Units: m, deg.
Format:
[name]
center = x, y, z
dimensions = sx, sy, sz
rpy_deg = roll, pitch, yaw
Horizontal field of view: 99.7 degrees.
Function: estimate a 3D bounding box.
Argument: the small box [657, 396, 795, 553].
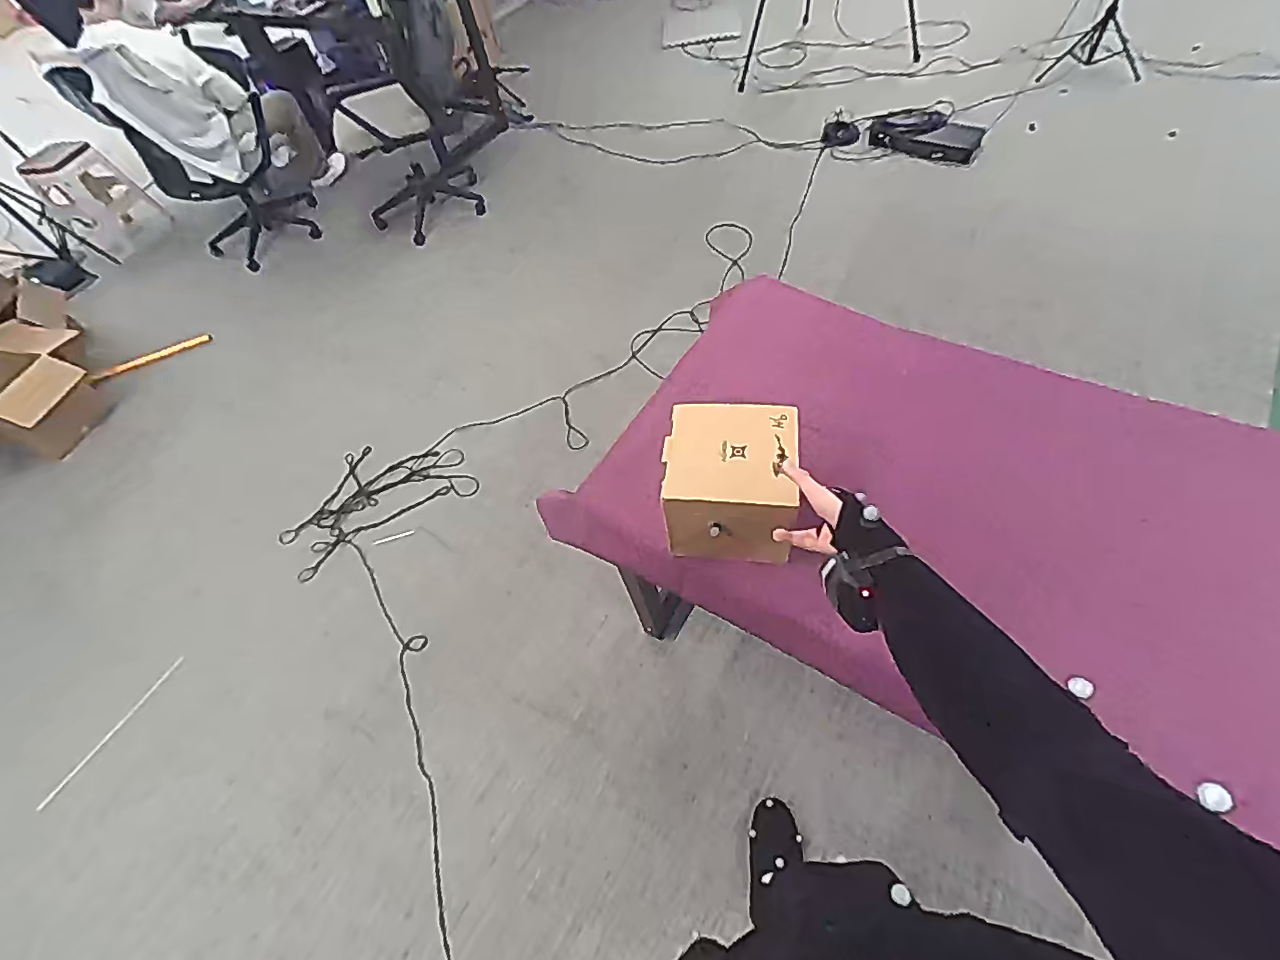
[small box]
center = 0.130, -0.004, 0.788
dimensions = 0.179, 0.176, 0.168
rpy_deg = 3, 57, 11
